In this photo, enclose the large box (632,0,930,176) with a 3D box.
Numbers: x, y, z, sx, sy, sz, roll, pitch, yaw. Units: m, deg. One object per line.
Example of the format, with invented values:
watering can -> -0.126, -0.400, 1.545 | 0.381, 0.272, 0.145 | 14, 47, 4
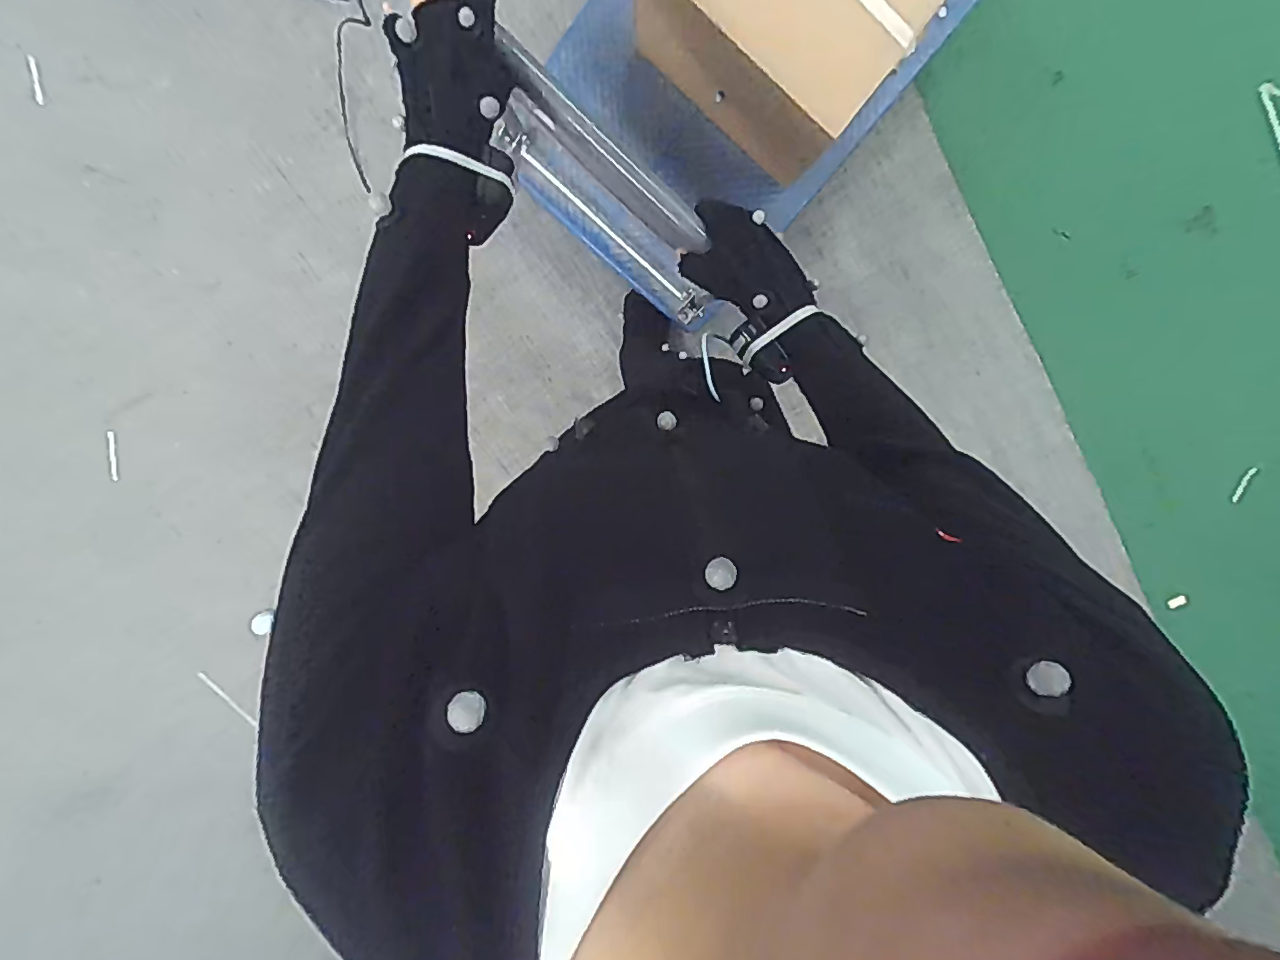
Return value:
large box -> 0.232, -0.813, 0.915 | 0.408, 0.320, 0.320 | 37, 102, -9
